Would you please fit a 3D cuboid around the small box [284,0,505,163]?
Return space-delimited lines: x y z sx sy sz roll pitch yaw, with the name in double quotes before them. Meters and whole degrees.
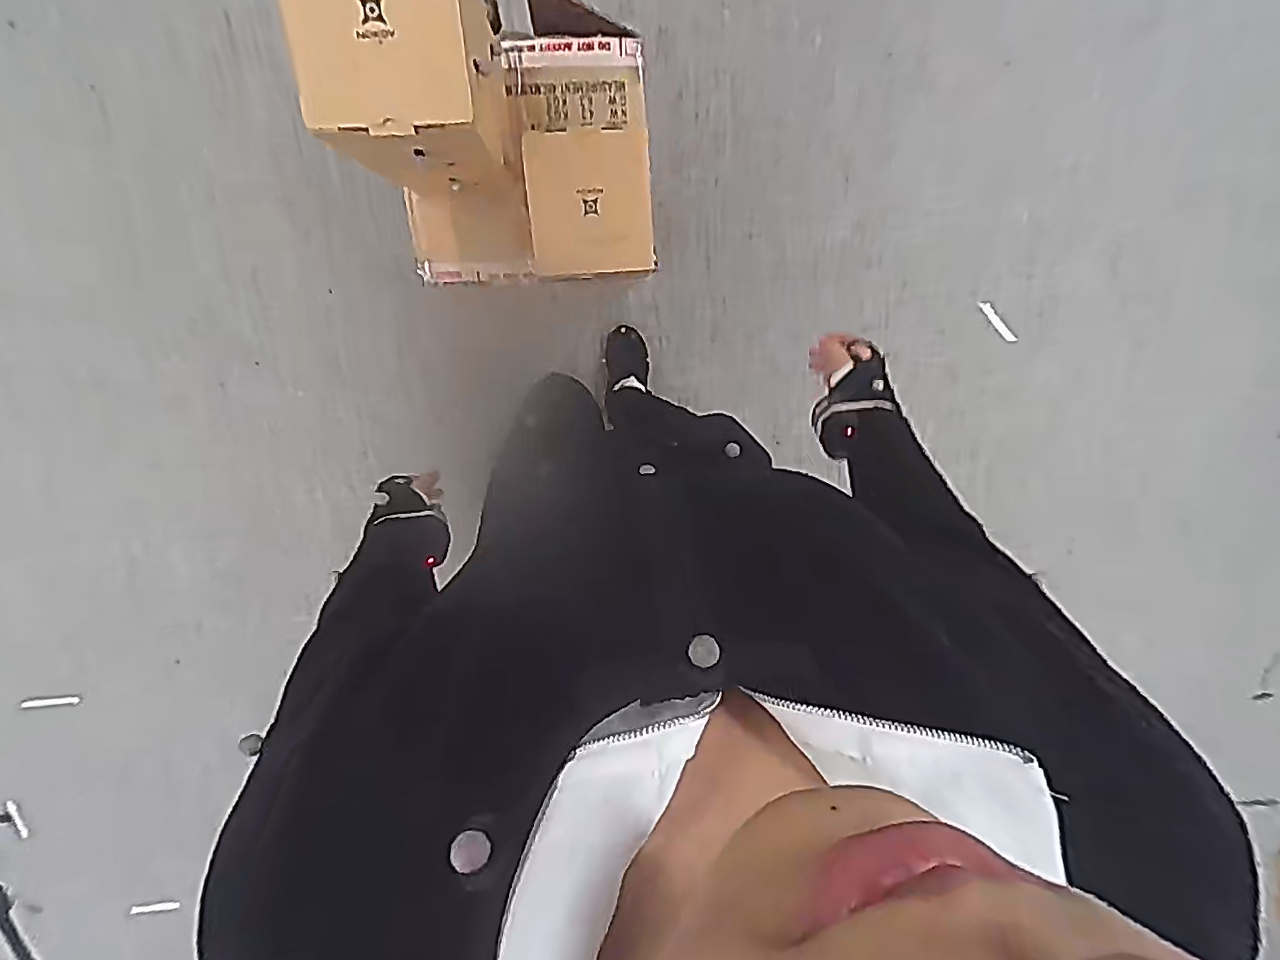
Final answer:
"small box" -0.250 -0.454 0.584 0.168 0.176 0.179 -4 110 -3

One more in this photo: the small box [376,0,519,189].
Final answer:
"small box" -0.267 -0.514 0.736 0.168 0.176 0.179 -5 109 -2
